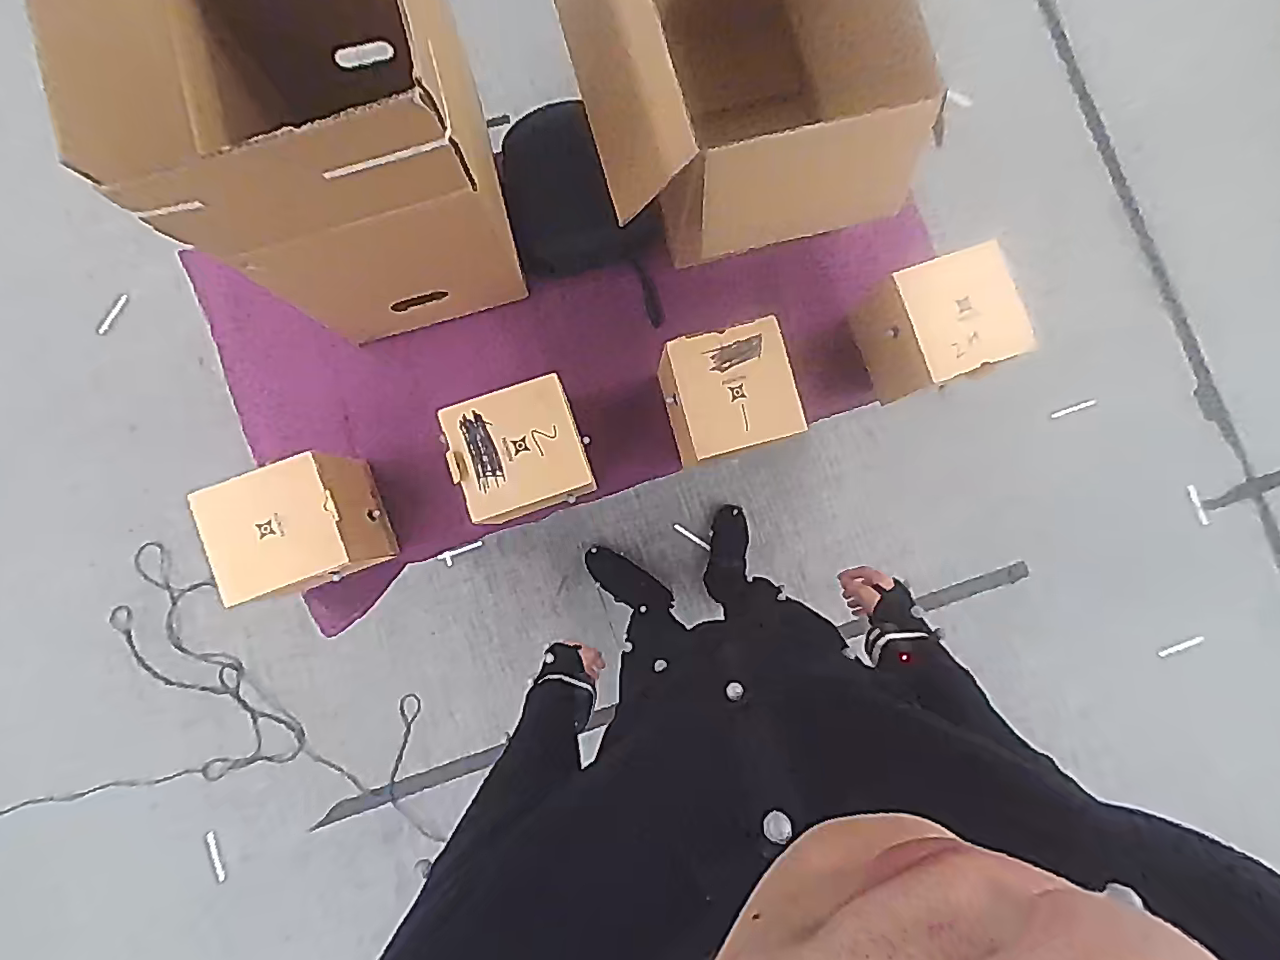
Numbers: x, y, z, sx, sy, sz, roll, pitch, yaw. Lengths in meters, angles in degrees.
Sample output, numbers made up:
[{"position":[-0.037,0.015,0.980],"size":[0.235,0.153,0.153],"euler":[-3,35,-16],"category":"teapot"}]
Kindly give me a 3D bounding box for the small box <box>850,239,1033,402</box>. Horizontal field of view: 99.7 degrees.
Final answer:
[{"position":[0.463,-0.242,0.862],"size":[0.168,0.176,0.179],"euler":[-19,87,-2],"category":"small box"}]

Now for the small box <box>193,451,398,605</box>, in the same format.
[{"position":[-0.500,0.071,0.810],"size":[0.179,0.176,0.168],"euler":[-21,87,-5],"category":"small box"}]
